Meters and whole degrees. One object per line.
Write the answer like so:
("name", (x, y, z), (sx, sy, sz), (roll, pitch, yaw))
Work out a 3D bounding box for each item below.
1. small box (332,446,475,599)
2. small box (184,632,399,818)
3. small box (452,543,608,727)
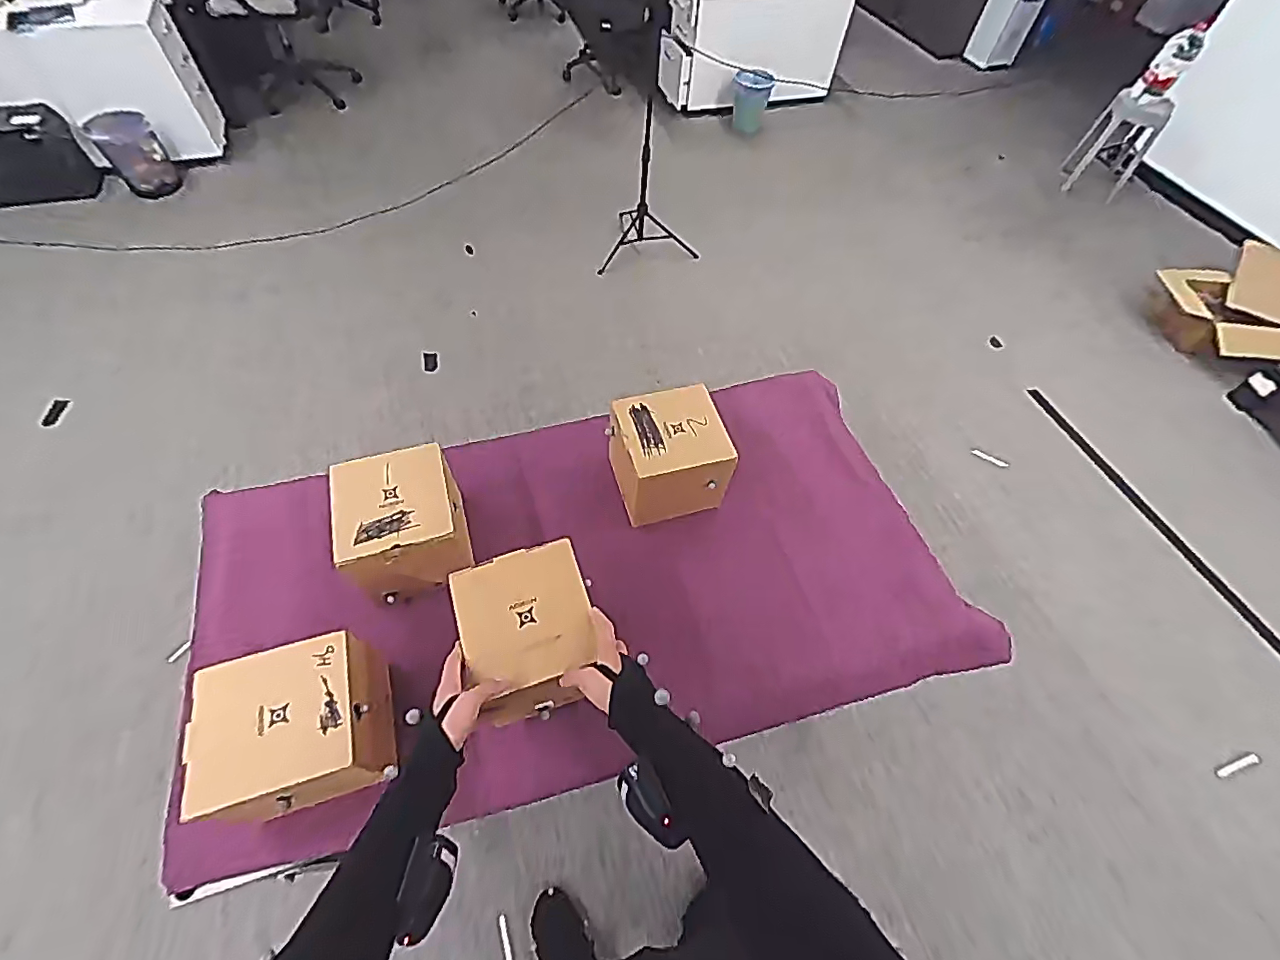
("small box", (-0.375, 0.077, 0.874), (0.168, 0.176, 0.179), (-14, 59, -13))
("small box", (-0.437, 0.324, 0.706), (0.179, 0.176, 0.168), (-14, 59, -12))
("small box", (-0.148, 0.218, 0.751), (0.168, 0.176, 0.179), (-16, 60, -13))
